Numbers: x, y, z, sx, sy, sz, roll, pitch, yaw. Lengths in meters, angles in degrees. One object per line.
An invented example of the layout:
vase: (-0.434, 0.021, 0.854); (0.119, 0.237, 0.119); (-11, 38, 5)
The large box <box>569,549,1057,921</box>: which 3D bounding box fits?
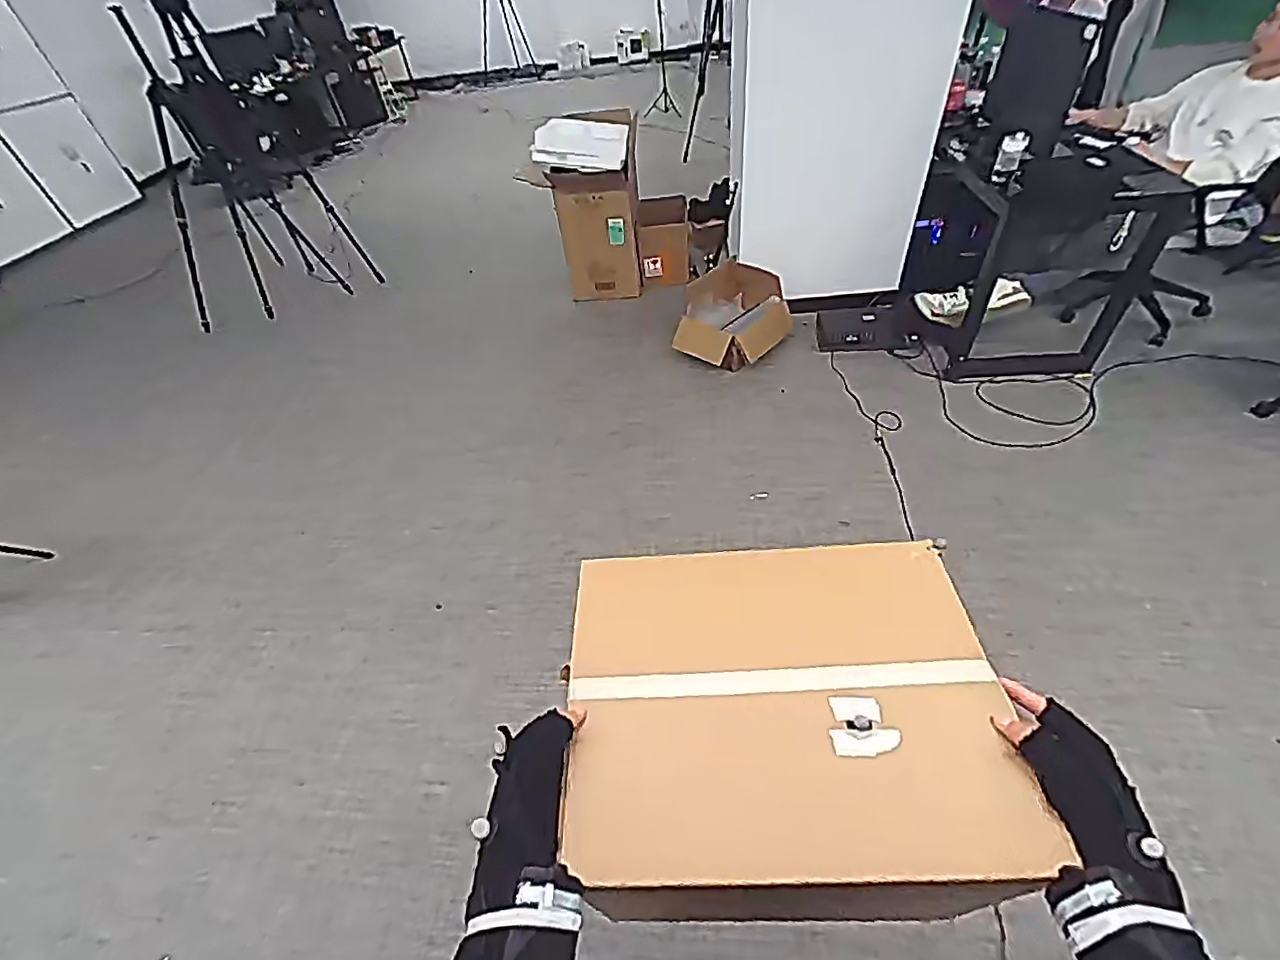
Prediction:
large box: (0.145, 0.308, 0.646); (0.408, 0.320, 0.320); (-4, 47, 3)
